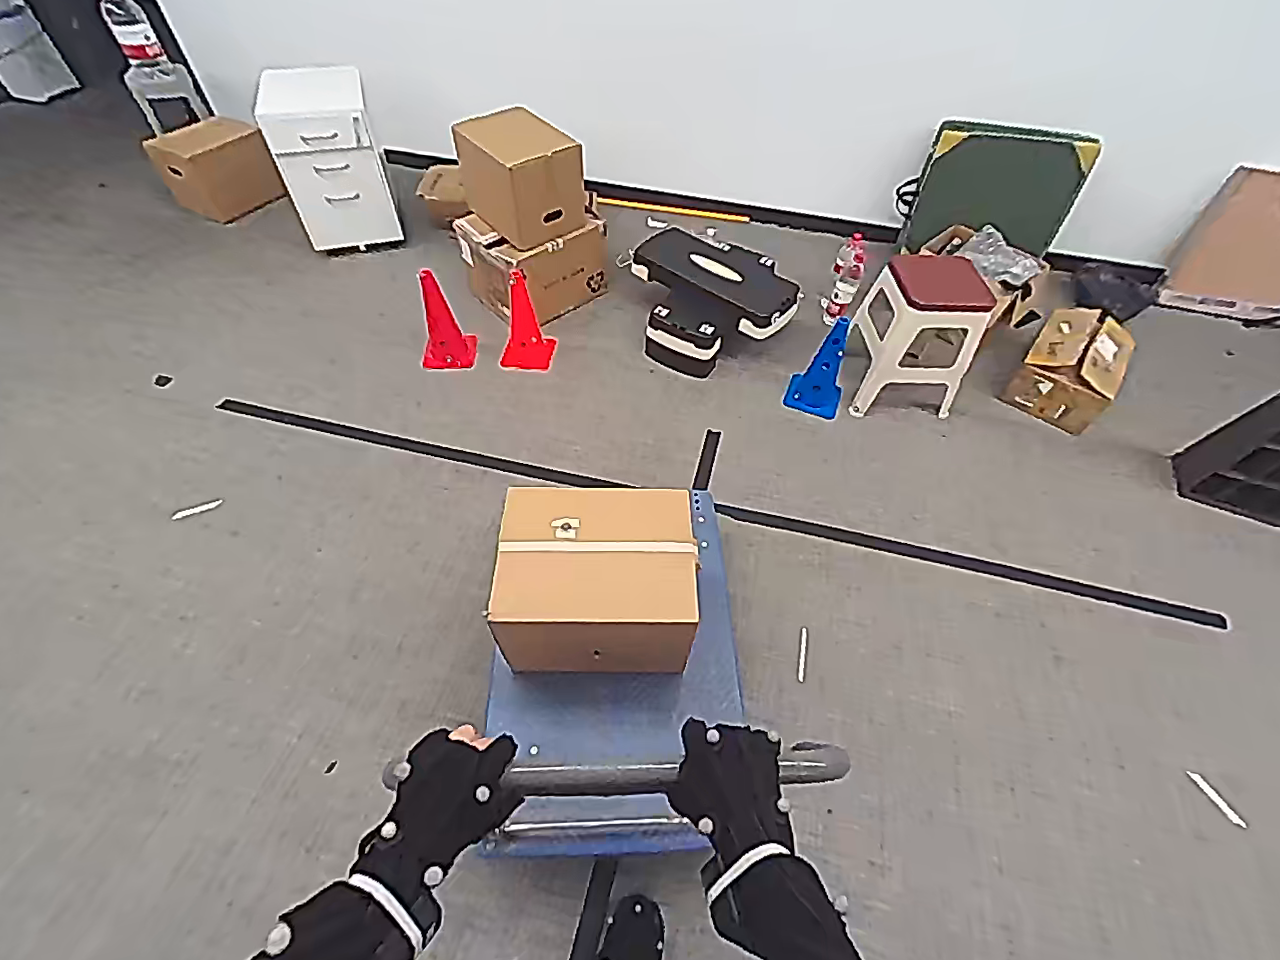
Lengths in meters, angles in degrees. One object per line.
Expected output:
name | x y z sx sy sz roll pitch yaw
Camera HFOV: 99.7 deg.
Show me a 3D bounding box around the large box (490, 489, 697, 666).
large box | -0.092 0.231 1.239 0.408 0.320 0.320 1 53 -1
